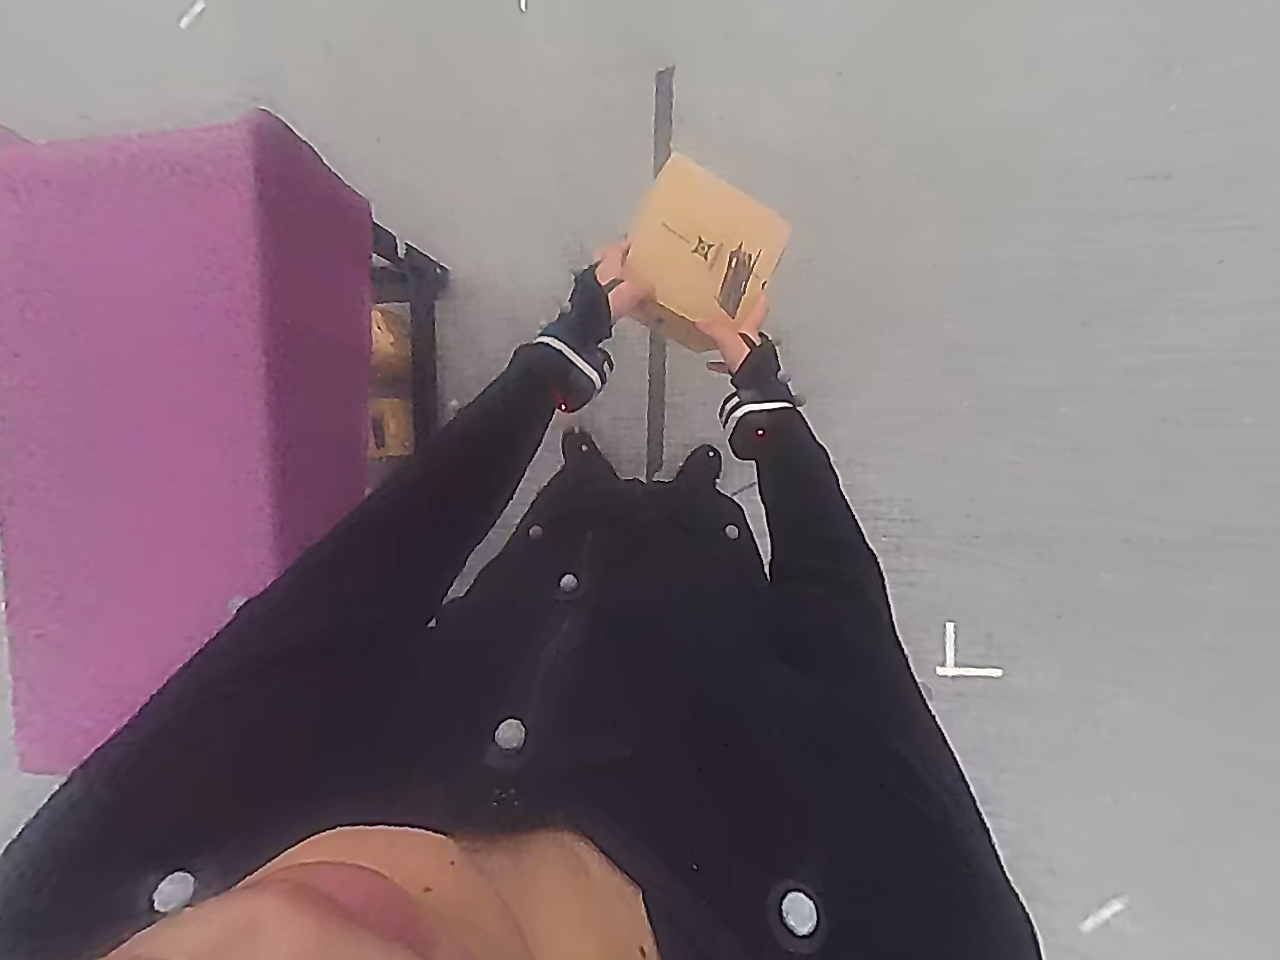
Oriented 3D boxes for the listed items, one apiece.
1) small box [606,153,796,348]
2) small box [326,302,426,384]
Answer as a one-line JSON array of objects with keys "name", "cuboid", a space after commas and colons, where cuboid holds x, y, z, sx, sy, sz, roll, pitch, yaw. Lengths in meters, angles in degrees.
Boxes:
[{"name": "small box", "cuboid": [0.070, -0.291, 0.733, 0.179, 0.176, 0.168, 25, 95, -14]}, {"name": "small box", "cuboid": [-0.785, -0.403, 1.623, 0.179, 0.176, 0.168, -28, 91, 10]}]
